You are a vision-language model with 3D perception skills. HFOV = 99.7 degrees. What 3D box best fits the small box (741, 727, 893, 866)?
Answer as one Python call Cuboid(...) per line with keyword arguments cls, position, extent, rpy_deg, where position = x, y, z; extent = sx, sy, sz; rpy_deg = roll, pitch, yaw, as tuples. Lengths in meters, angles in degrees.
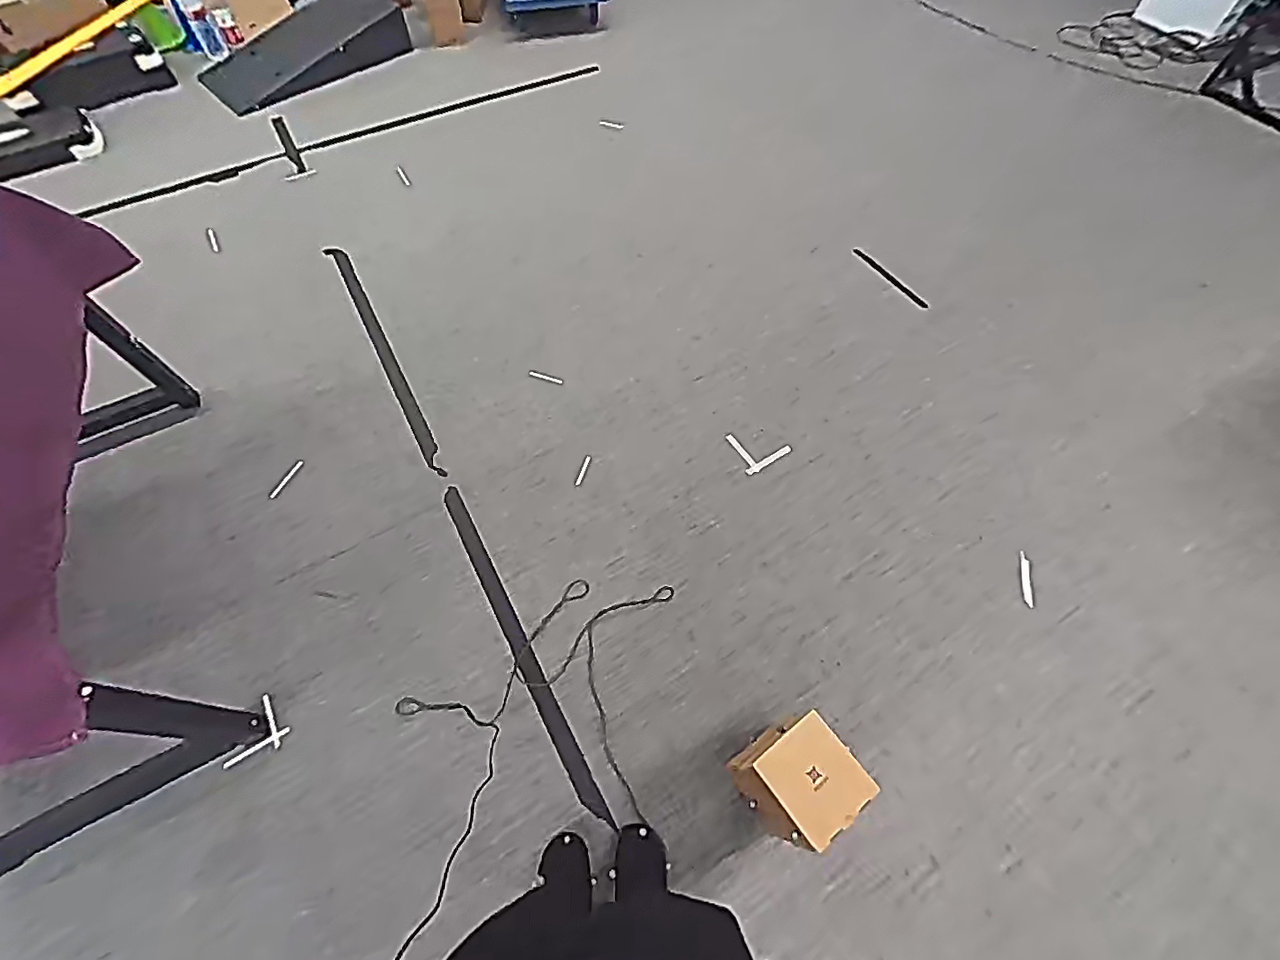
Cuboid(cls="small box", position=(0.332, 0.585, 1.015), extent=(0.179, 0.176, 0.168), rpy_deg=(-31, 83, -36))
